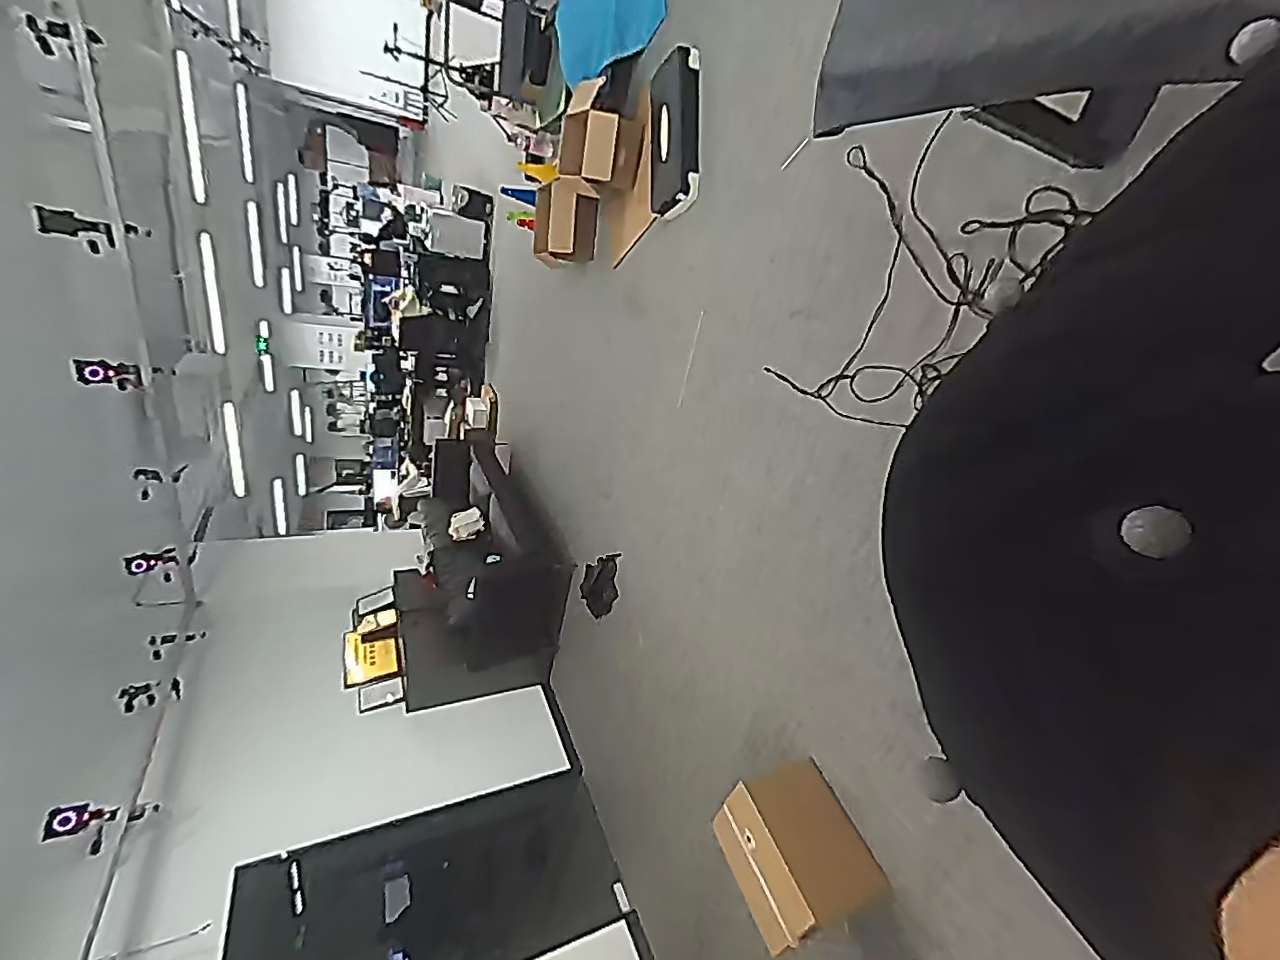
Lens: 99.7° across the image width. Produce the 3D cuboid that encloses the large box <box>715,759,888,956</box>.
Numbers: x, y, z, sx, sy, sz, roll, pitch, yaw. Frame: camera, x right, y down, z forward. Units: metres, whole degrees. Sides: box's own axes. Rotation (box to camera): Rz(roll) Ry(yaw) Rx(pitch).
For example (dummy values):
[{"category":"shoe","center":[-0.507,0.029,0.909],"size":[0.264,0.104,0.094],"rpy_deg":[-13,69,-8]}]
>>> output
[{"category":"large box","center":[0.511,1.220,1.780],"size":[0.408,0.320,0.320],"rpy_deg":[59,140,46]}]
